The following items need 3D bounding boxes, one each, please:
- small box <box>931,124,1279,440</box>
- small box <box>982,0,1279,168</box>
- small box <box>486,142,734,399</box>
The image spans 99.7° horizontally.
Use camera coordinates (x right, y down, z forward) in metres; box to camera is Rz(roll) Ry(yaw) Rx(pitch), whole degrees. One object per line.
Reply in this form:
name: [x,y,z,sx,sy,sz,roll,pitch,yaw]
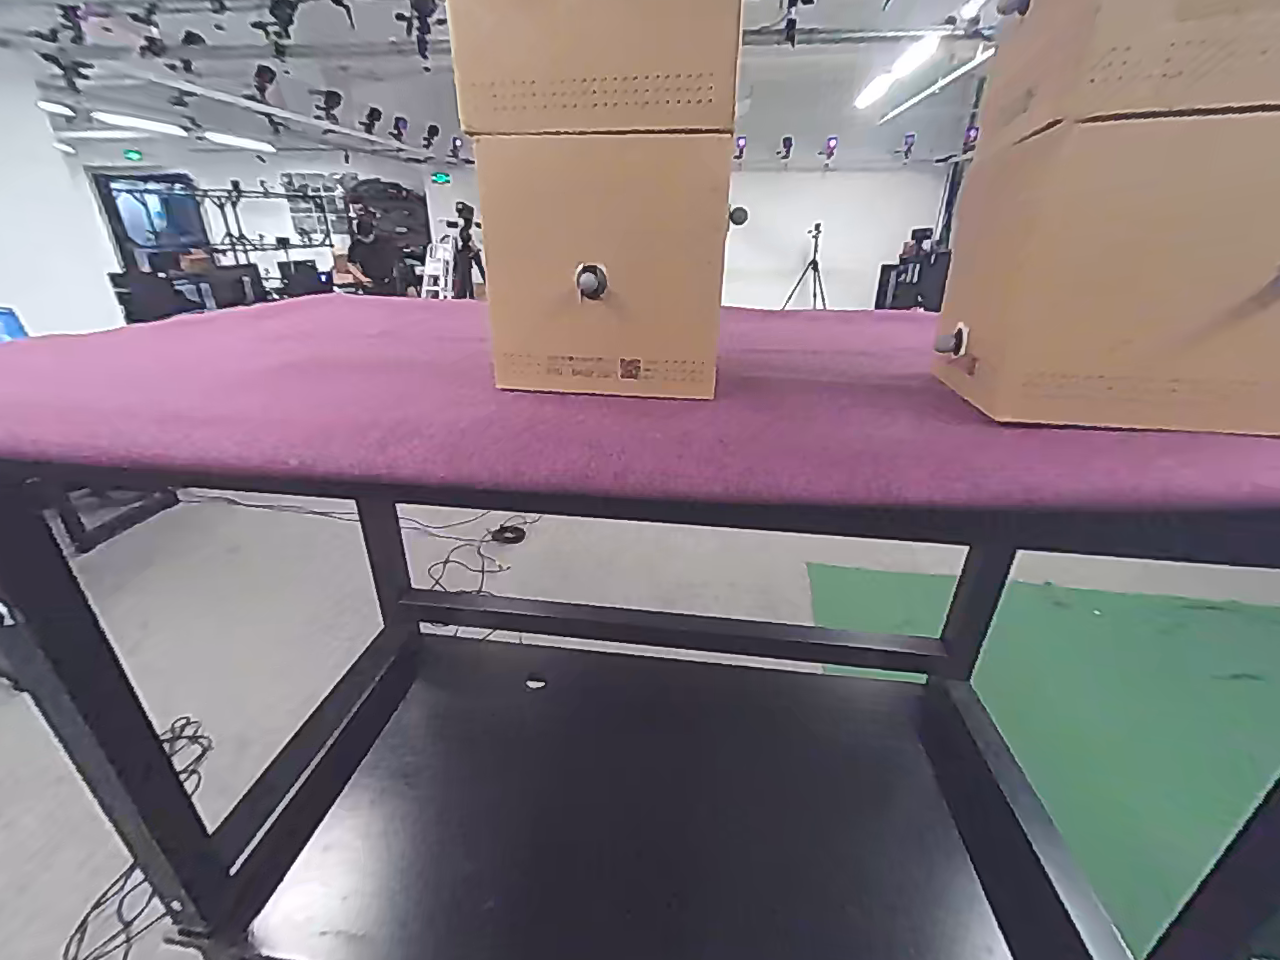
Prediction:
small box: [0.330,-0.131,0.376,0.179,0.176,0.168,4,22,12]
small box: [0.329,-0.284,0.321,0.179,0.176,0.168,7,23,14]
small box: [-0.010,-0.171,0.451,0.168,0.176,0.179,5,24,7]
